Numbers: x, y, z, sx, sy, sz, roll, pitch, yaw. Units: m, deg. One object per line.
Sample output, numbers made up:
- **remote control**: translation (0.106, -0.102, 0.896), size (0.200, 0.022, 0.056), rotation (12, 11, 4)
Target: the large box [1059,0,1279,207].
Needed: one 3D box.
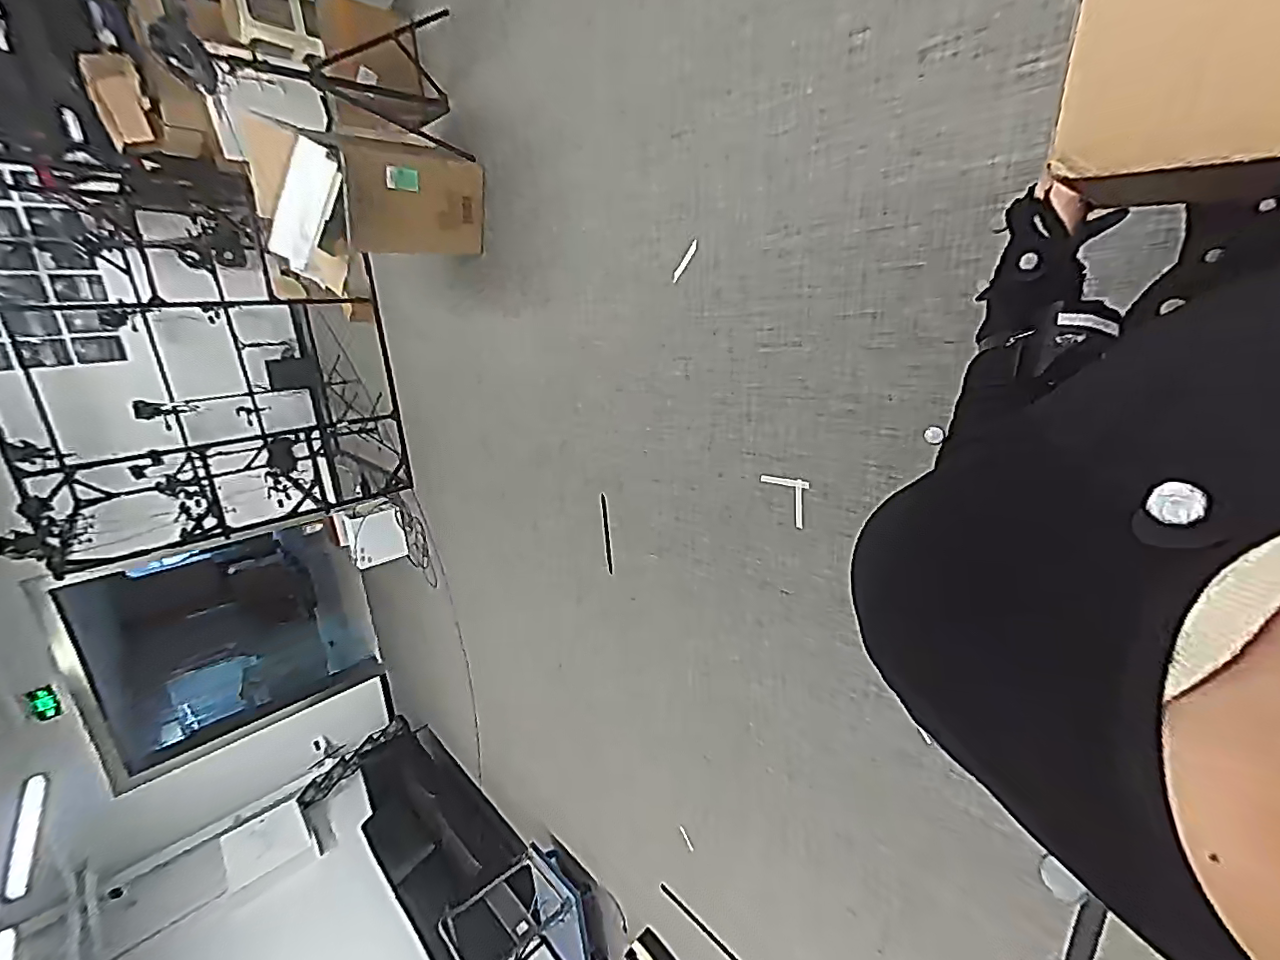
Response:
- **large box**: translation (0.436, -0.299, 0.192), size (0.408, 0.320, 0.320), rotation (14, 118, 37)
